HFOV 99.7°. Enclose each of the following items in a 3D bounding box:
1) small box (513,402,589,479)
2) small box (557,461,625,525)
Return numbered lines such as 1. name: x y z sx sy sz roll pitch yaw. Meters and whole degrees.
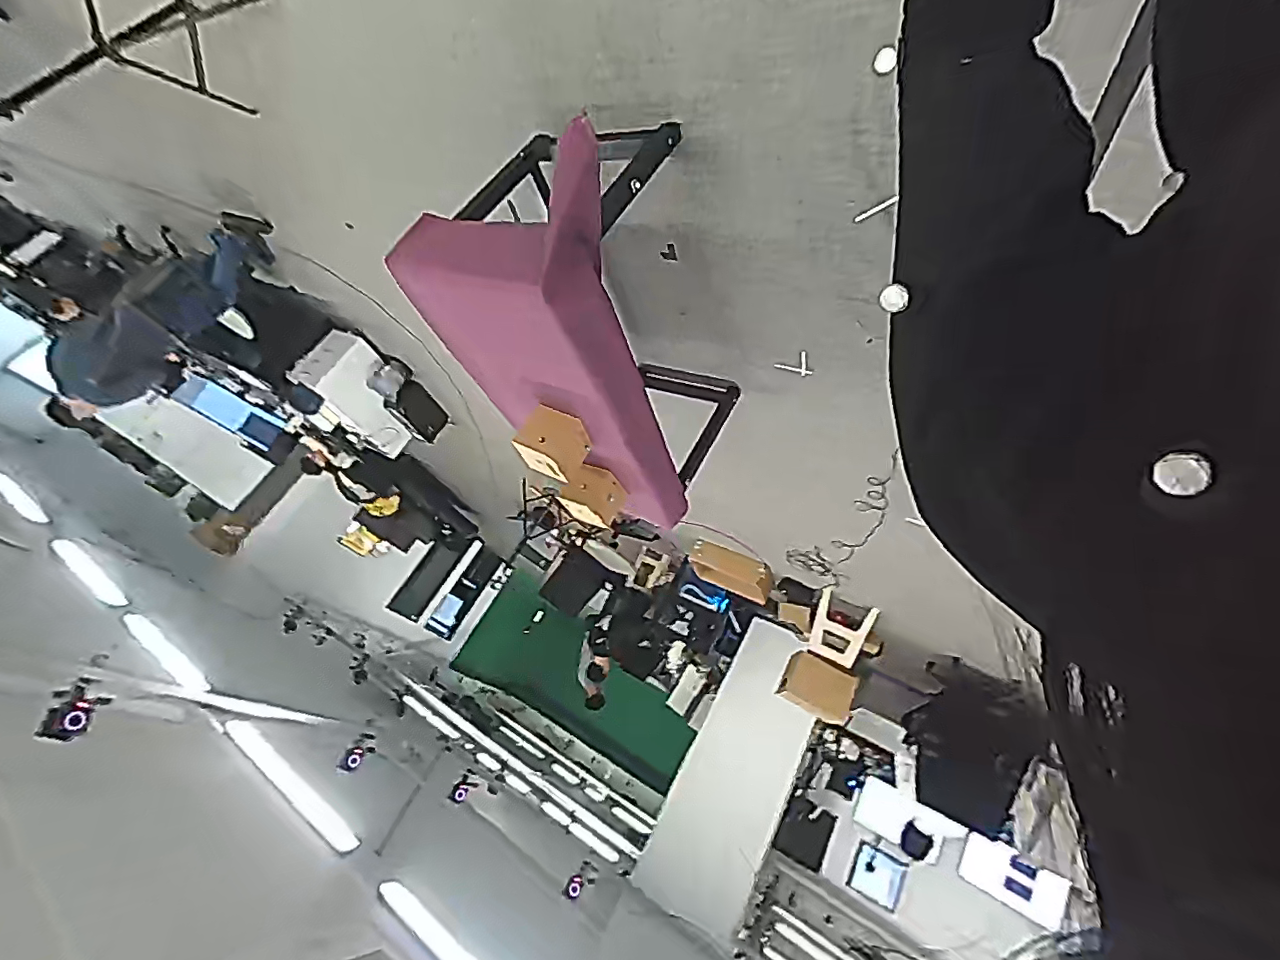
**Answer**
1. small box: -0.290 -0.137 1.829 0.179 0.176 0.168 23 157 24
2. small box: -0.178 0.044 2.080 0.179 0.176 0.168 14 153 37
